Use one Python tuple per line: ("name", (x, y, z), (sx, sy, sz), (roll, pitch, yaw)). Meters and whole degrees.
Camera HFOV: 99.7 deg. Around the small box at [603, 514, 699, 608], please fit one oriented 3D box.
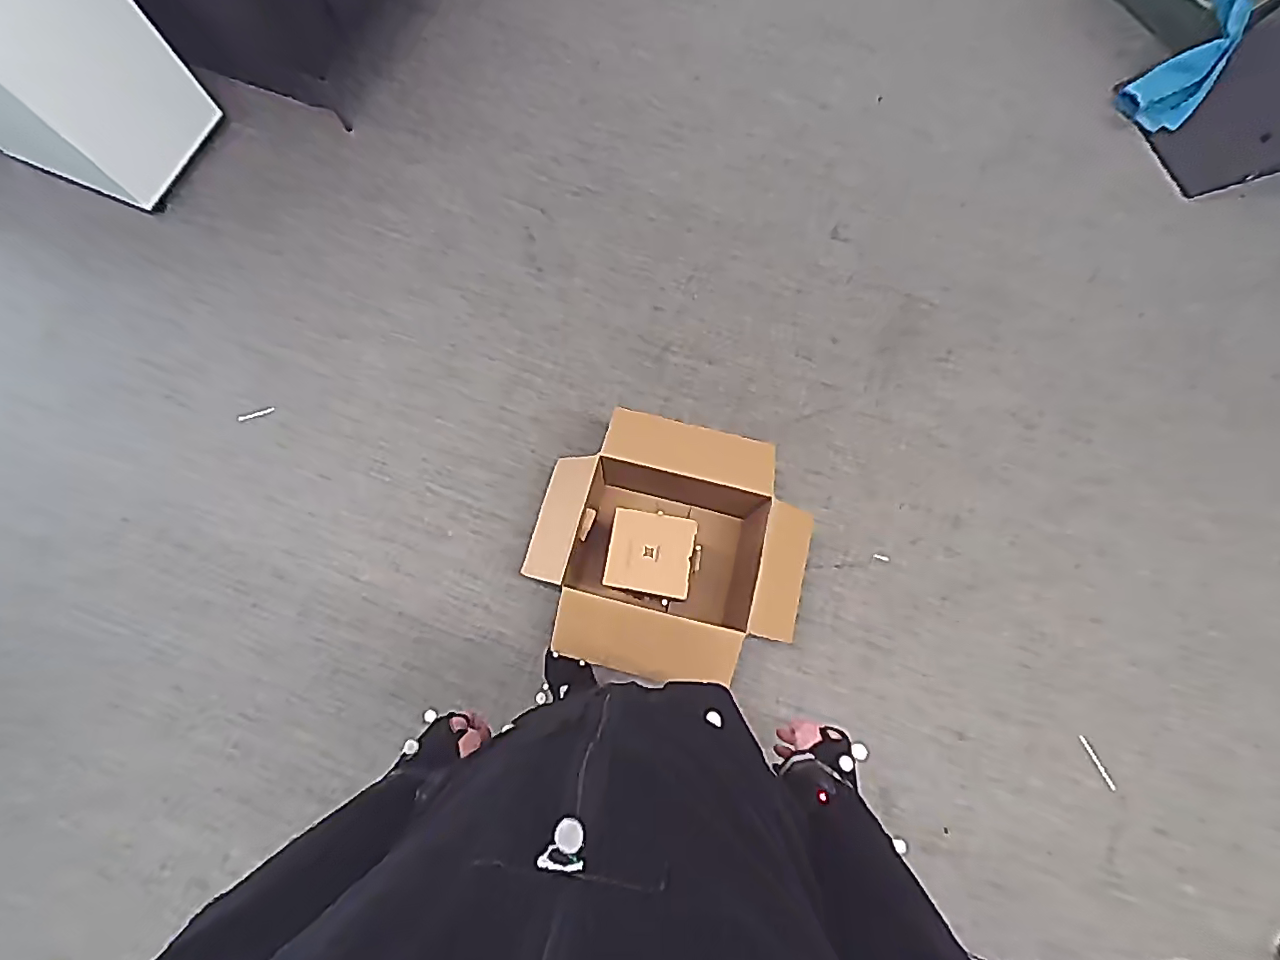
("small box", (0.029, 0.183, 1.188), (0.179, 0.176, 0.168), (9, 74, 6))
